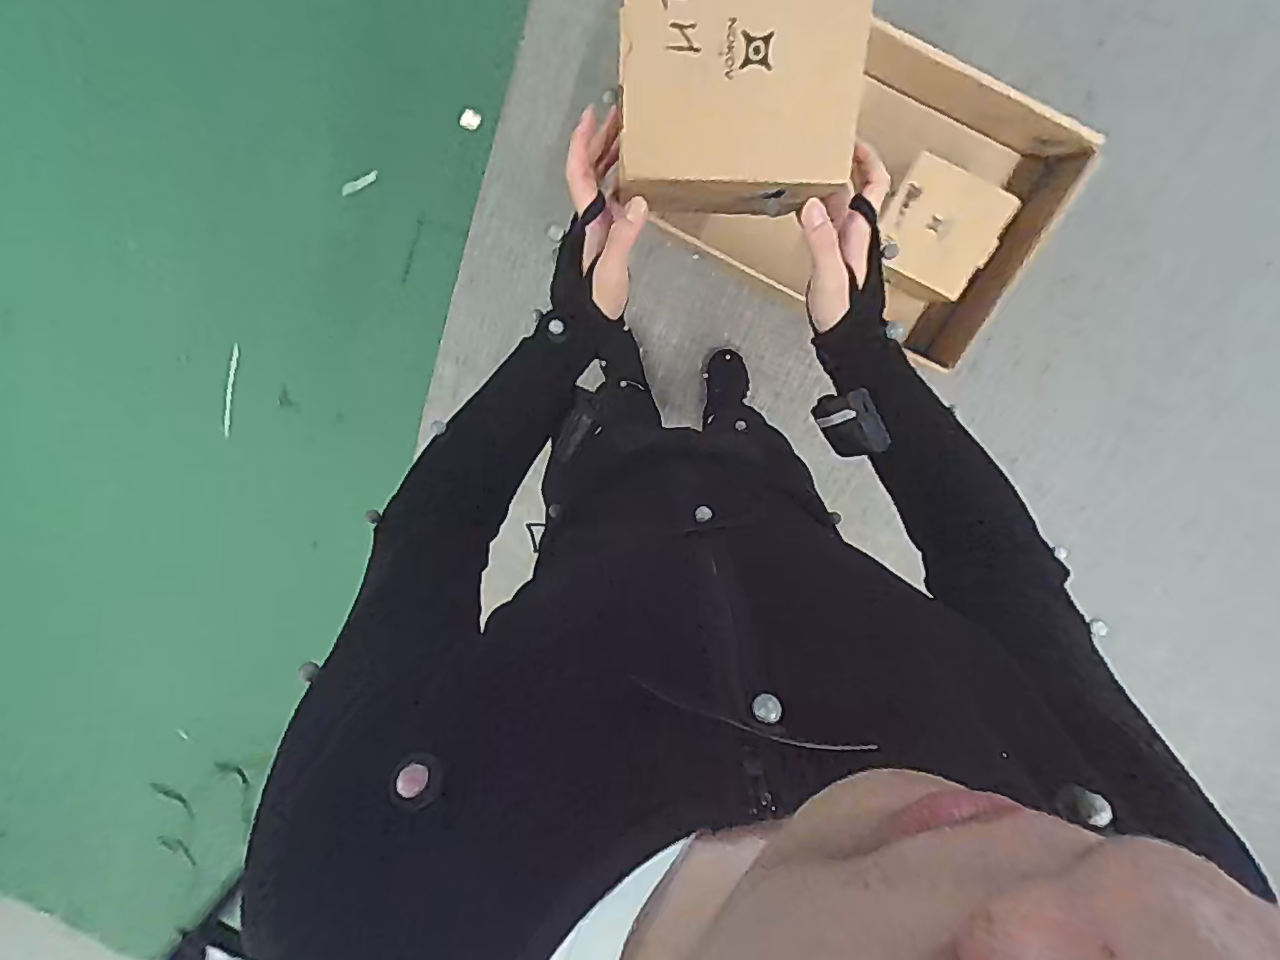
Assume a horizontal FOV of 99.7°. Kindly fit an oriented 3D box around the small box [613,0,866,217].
[{"bbox_3d":[0.066,-0.324,0.454,0.179,0.176,0.168,0,109,-2],"label":"small box"}]
